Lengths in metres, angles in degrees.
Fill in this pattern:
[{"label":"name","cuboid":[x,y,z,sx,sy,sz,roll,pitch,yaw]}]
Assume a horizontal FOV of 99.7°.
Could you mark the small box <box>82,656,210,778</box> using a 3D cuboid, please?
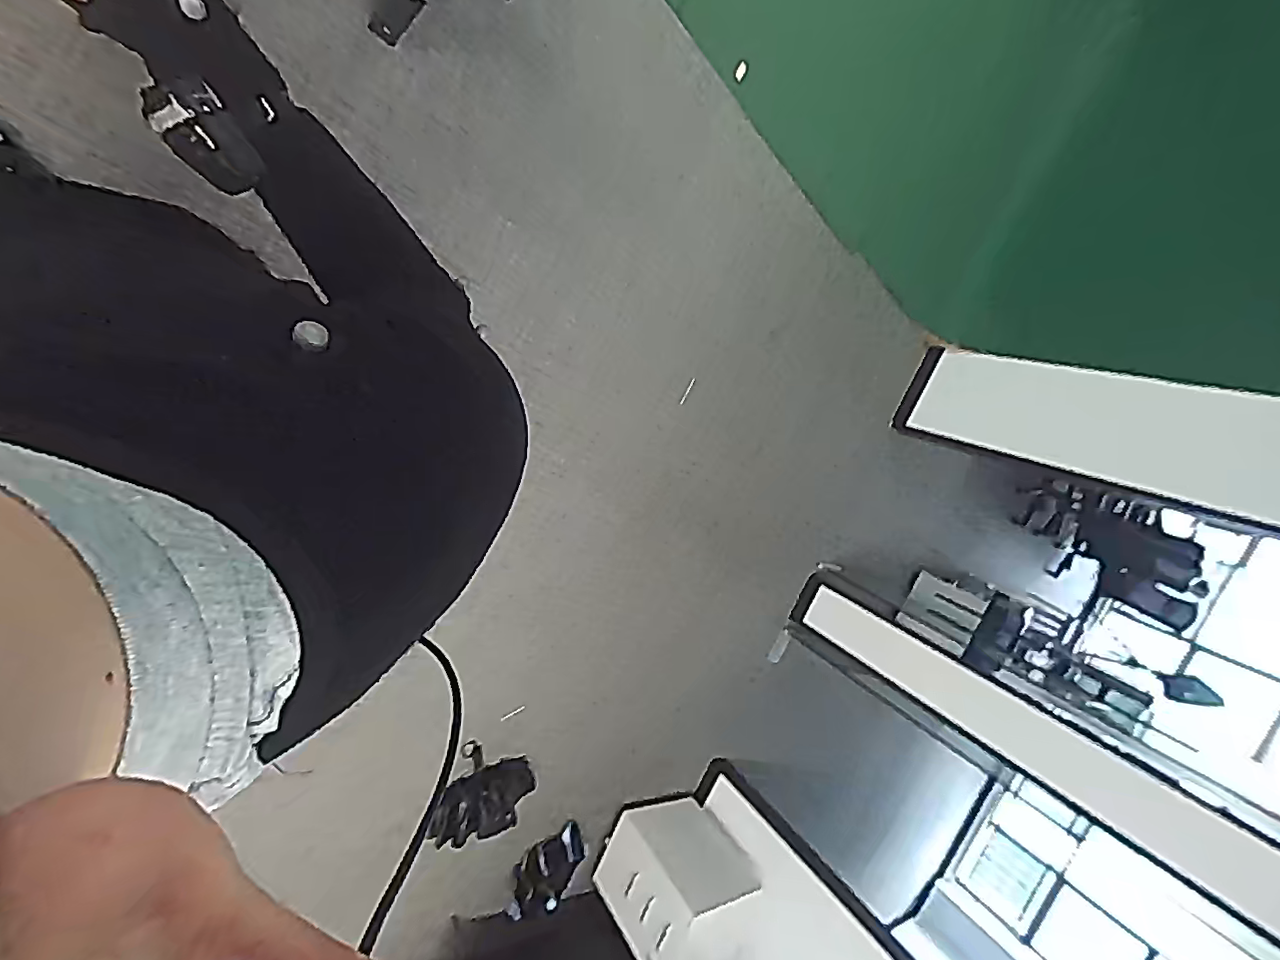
[{"label":"small box","cuboid":[-1.190,0.571,1.321,0.168,0.176,0.179,-31,125,-24]}]
